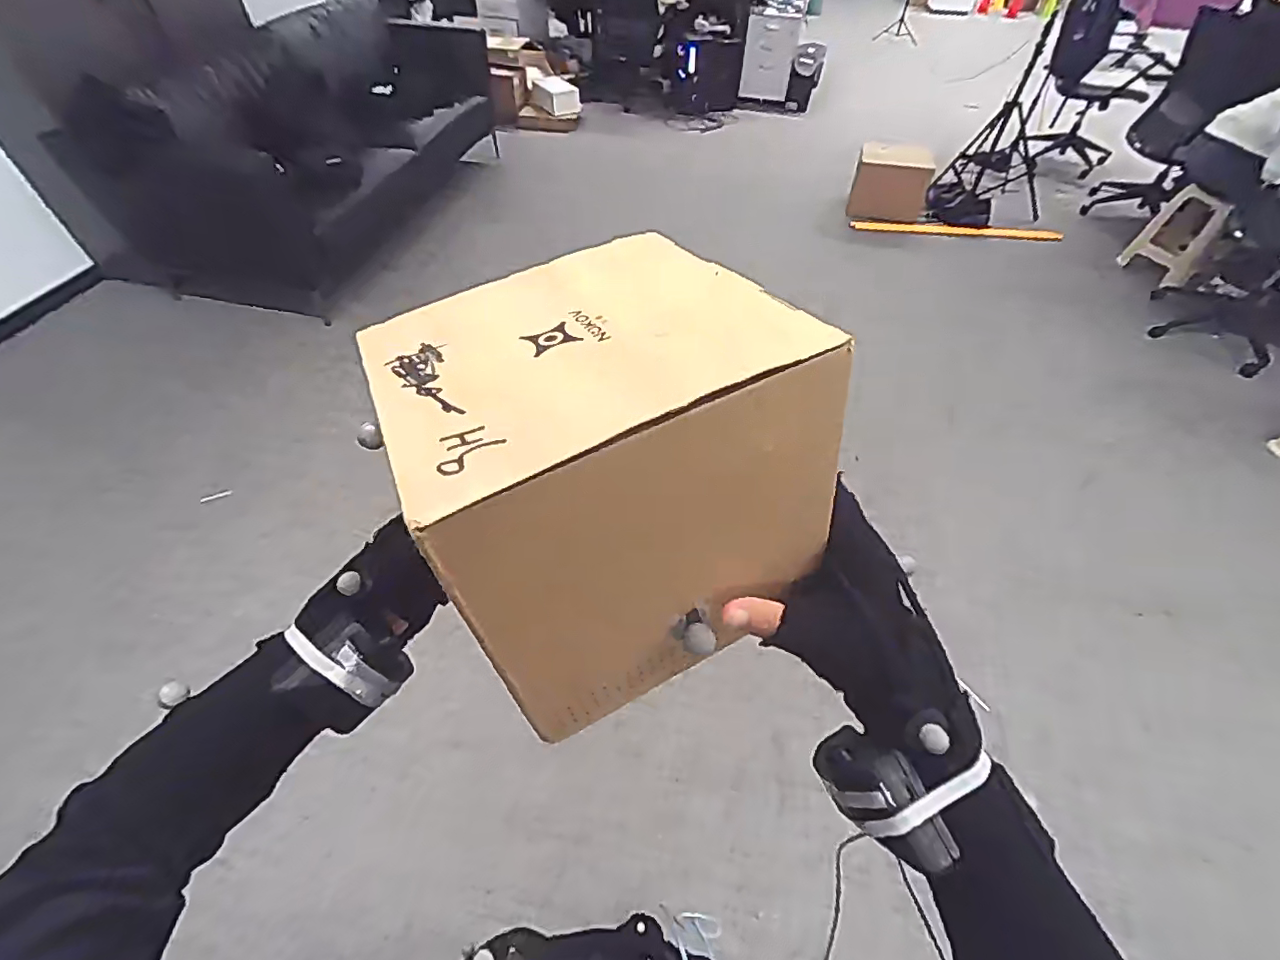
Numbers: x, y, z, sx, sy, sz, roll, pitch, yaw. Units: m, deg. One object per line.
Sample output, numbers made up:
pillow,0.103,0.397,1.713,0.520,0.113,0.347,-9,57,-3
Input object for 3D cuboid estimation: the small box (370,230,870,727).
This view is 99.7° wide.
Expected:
small box,-0.014,-0.007,0.292,0.179,0.176,0.168,-24,44,-15
